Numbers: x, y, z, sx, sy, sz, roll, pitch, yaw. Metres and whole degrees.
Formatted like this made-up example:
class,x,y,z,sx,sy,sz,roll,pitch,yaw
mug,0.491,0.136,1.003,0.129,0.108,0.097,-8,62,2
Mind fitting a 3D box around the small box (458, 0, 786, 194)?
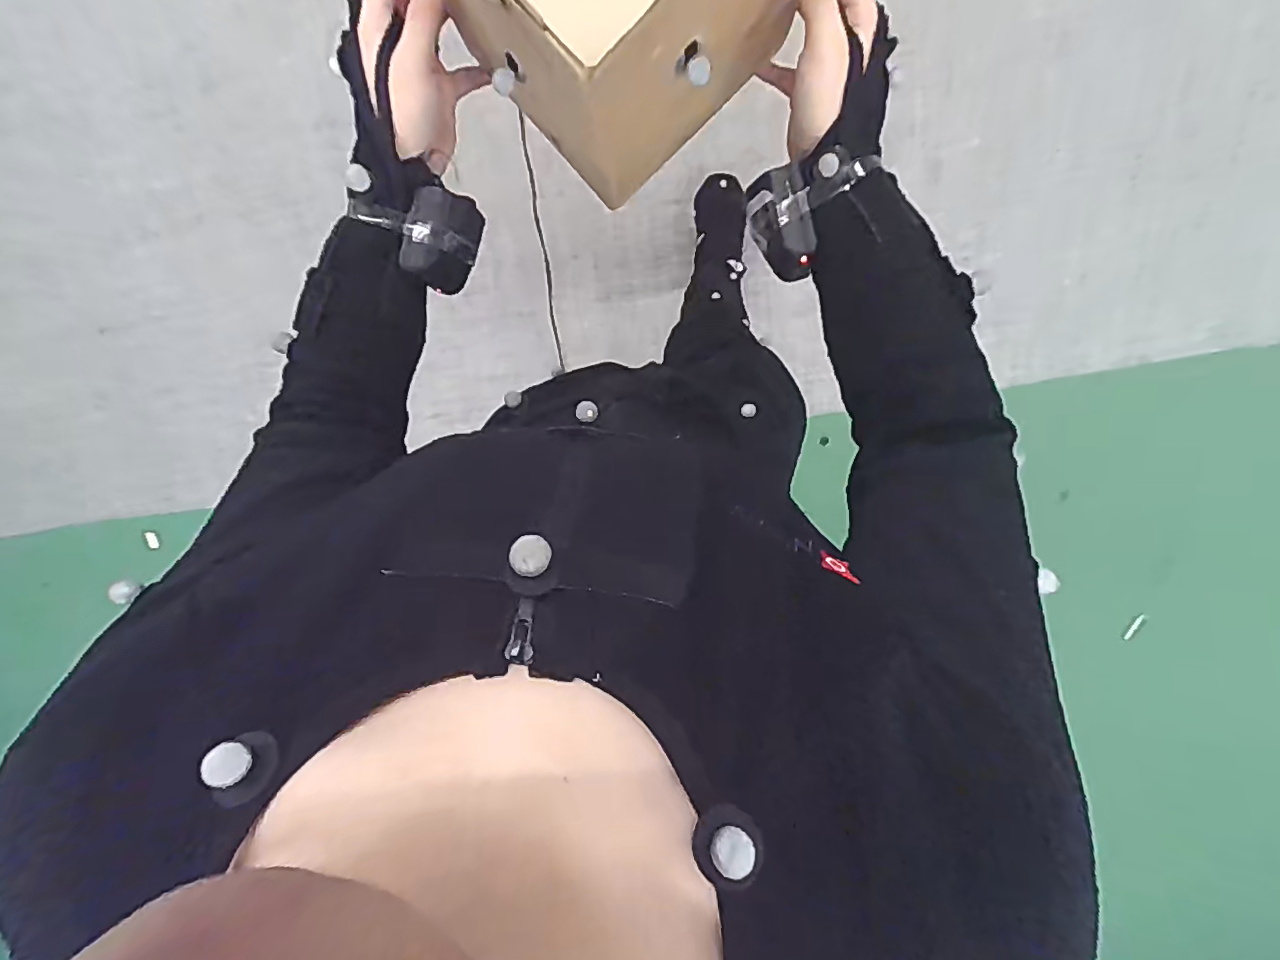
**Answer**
class,x,y,z,sx,sy,sz,roll,pitch,yaw
small box,-0.013,-0.320,0.330,0.179,0.176,0.168,-43,93,6
